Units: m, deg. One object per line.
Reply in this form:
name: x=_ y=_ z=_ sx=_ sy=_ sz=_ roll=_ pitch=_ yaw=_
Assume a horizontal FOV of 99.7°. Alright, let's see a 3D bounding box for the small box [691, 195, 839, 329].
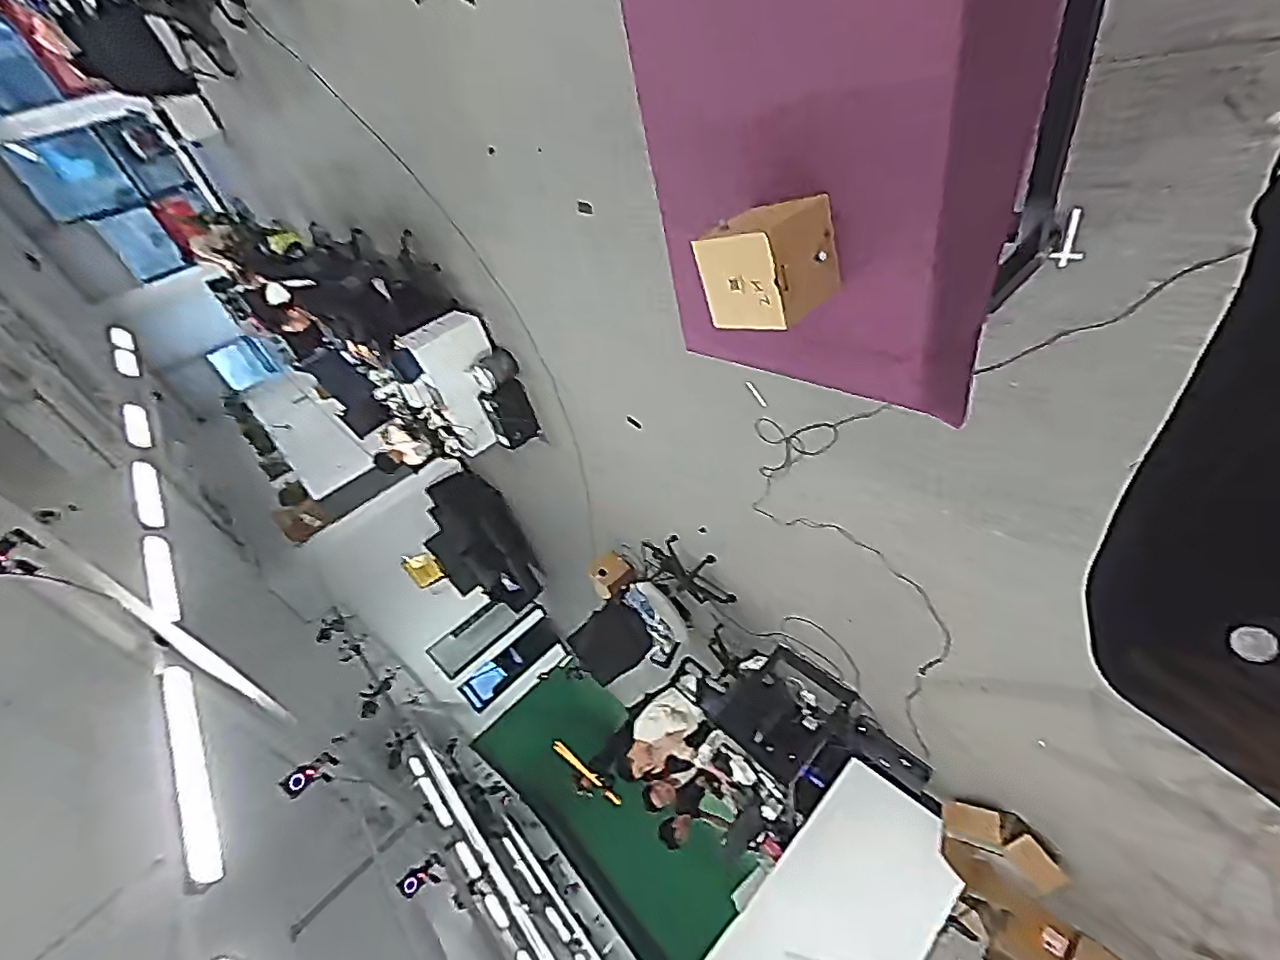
small box: x=0.226 y=-0.387 z=0.970 sx=0.179 sy=0.176 sz=0.168 roll=20 pitch=142 yaw=49
